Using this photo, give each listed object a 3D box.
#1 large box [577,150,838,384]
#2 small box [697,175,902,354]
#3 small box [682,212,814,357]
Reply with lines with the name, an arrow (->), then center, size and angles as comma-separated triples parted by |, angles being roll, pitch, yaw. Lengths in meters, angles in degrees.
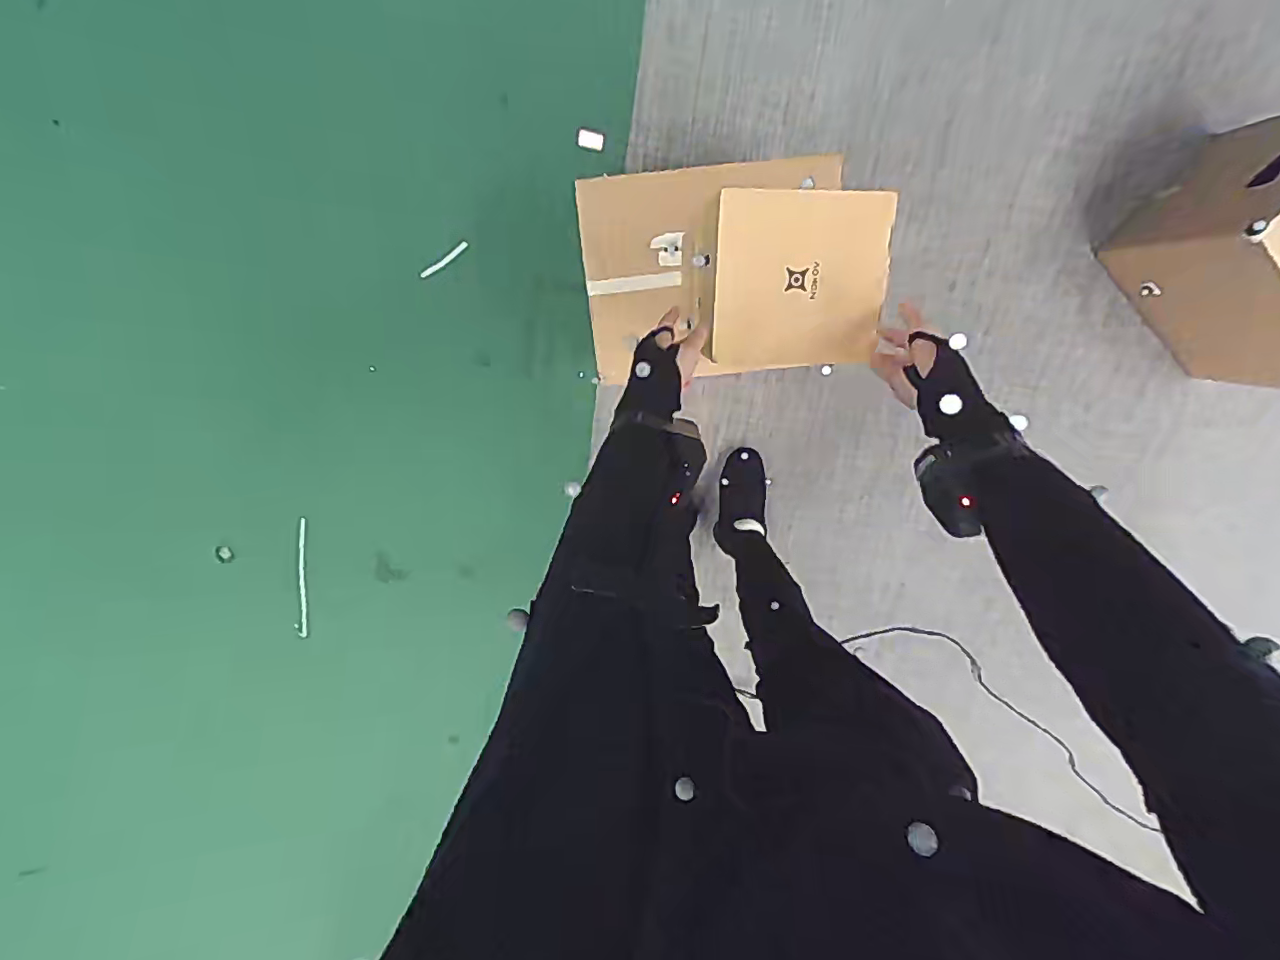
large box -> 0.116, -0.370, 0.998 | 0.408, 0.320, 0.320 | -6, 106, 1
small box -> 0.161, -0.233, 0.614 | 0.179, 0.176, 0.168 | 0, 107, -3
small box -> 0.152, -0.273, 0.771 | 0.168, 0.176, 0.179 | -1, 107, -2
